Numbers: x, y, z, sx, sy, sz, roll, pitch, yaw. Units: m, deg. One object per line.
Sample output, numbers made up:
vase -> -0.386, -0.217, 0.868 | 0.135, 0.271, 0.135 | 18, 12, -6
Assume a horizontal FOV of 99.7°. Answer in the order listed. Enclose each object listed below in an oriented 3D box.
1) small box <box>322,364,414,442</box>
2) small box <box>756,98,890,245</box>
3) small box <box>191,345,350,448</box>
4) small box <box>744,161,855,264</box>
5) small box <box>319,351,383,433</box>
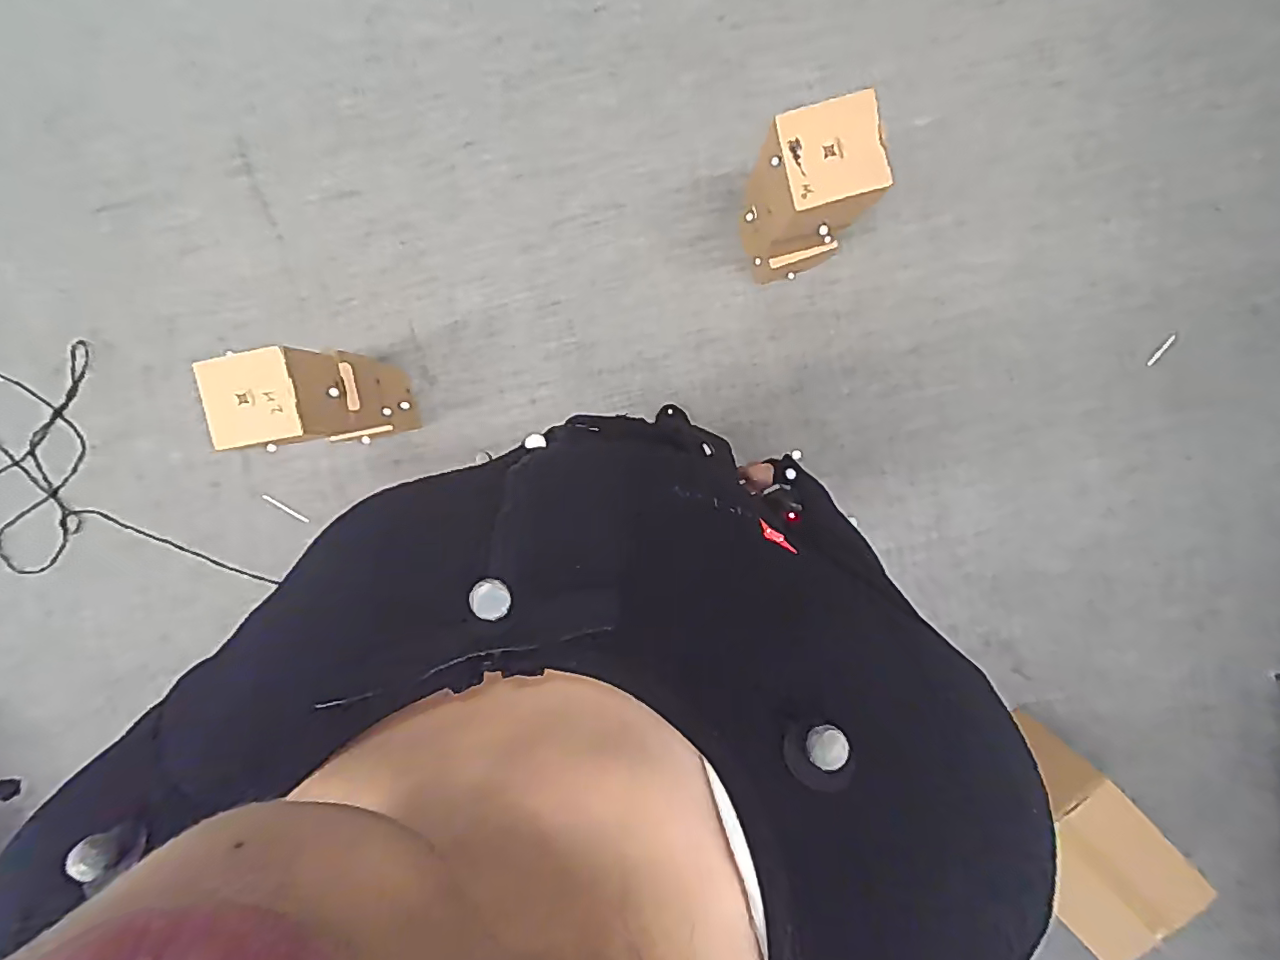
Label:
small box -> -0.702, -0.197, 1.387 | 0.179, 0.176, 0.168 | -10, 96, 2
small box -> 0.335, -0.567, 1.016 | 0.179, 0.176, 0.168 | -14, 95, 1
small box -> -0.713, -0.158, 1.061 | 0.179, 0.176, 0.168 | -10, 97, 2
small box -> 0.340, -0.594, 1.178 | 0.179, 0.176, 0.168 | -14, 95, 3
small box -> -0.707, -0.190, 1.223 | 0.179, 0.176, 0.168 | -10, 96, 3
